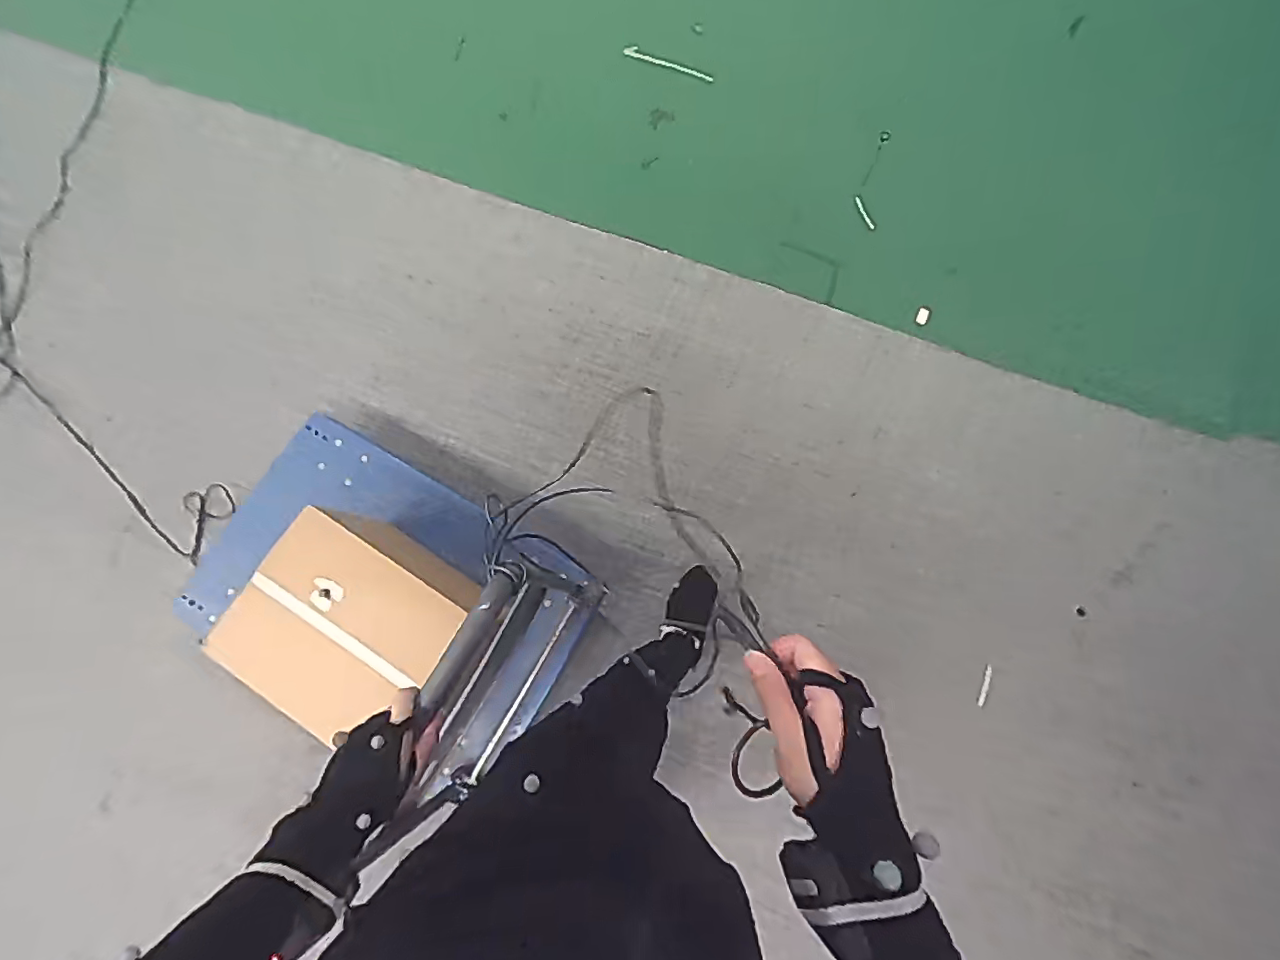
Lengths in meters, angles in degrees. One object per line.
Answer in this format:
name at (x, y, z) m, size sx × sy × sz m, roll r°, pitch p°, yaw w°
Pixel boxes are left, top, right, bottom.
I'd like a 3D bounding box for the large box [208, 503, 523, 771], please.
large box at (-0.514, 0.294, 1.099) m, size 0.408 × 0.320 × 0.320 m, roll 32°, pitch 81°, yaw 7°
